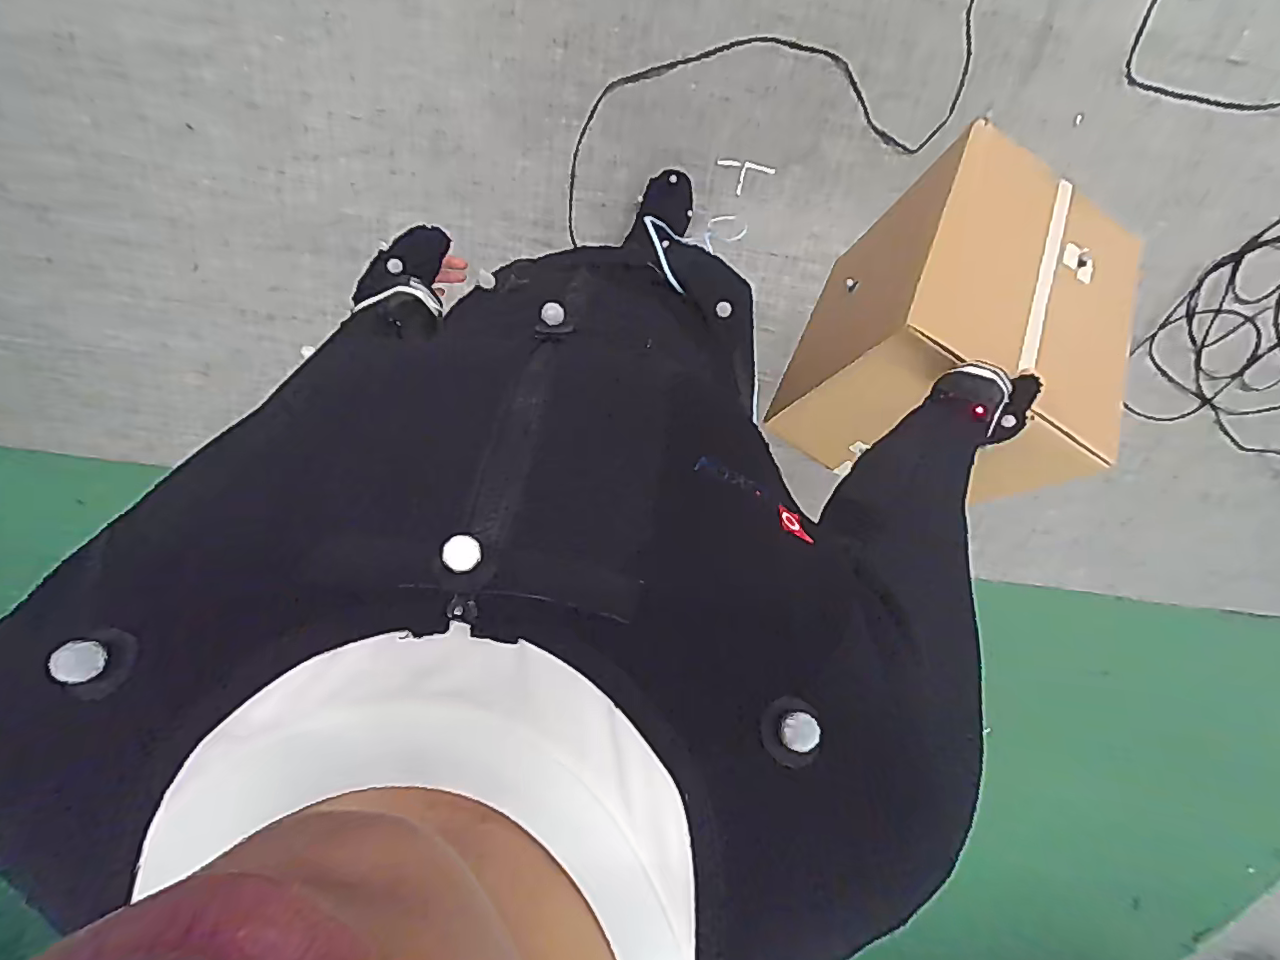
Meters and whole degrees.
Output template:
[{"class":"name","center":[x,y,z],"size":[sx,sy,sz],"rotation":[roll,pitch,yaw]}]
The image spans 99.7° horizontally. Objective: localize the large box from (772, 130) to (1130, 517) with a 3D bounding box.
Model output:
[{"class":"large box","center":[0.460,-0.209,0.831],"size":[0.320,0.408,0.320],"rotation":[31,157,-8]}]
